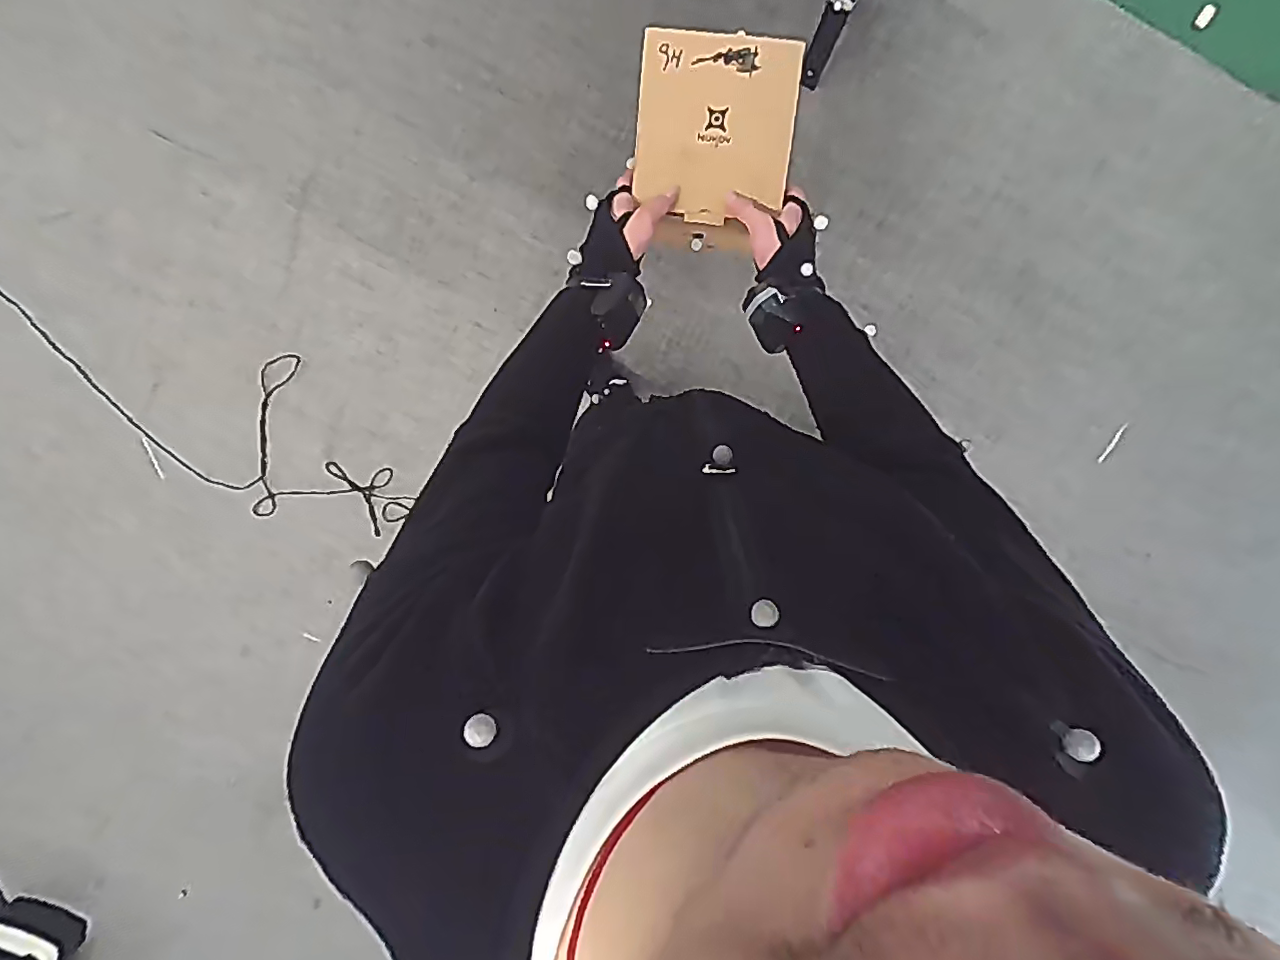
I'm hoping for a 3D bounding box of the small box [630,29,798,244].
[{"bbox_3d":[0.080,-0.393,0.650,0.168,0.176,0.179,4,103,2],"label":"small box"}]
